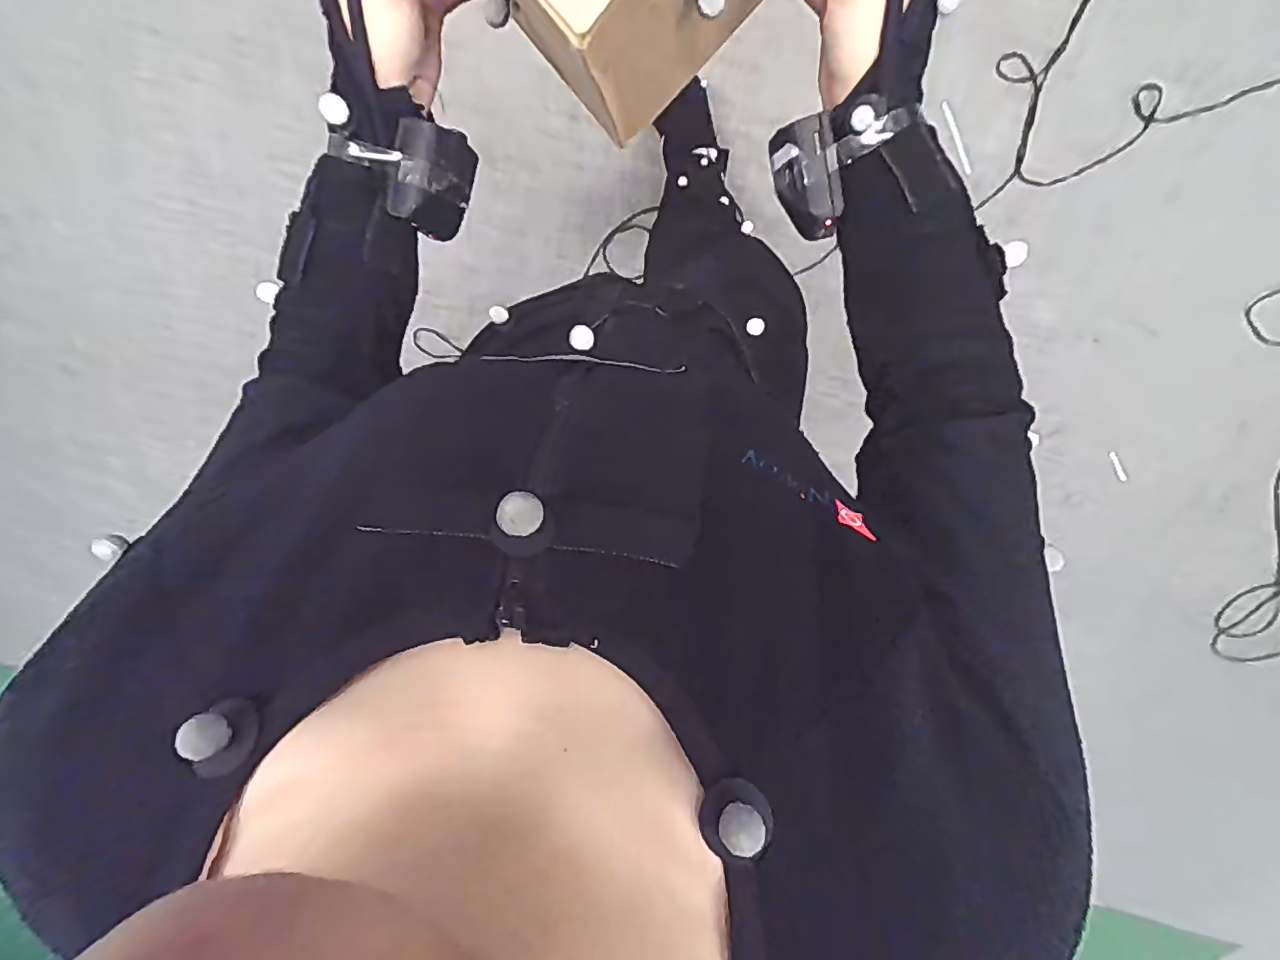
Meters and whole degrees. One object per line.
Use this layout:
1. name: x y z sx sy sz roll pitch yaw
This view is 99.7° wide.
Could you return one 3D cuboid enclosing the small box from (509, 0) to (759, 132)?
1. small box: -0.010 -0.329 0.280 0.179 0.176 0.168 -41 100 16
